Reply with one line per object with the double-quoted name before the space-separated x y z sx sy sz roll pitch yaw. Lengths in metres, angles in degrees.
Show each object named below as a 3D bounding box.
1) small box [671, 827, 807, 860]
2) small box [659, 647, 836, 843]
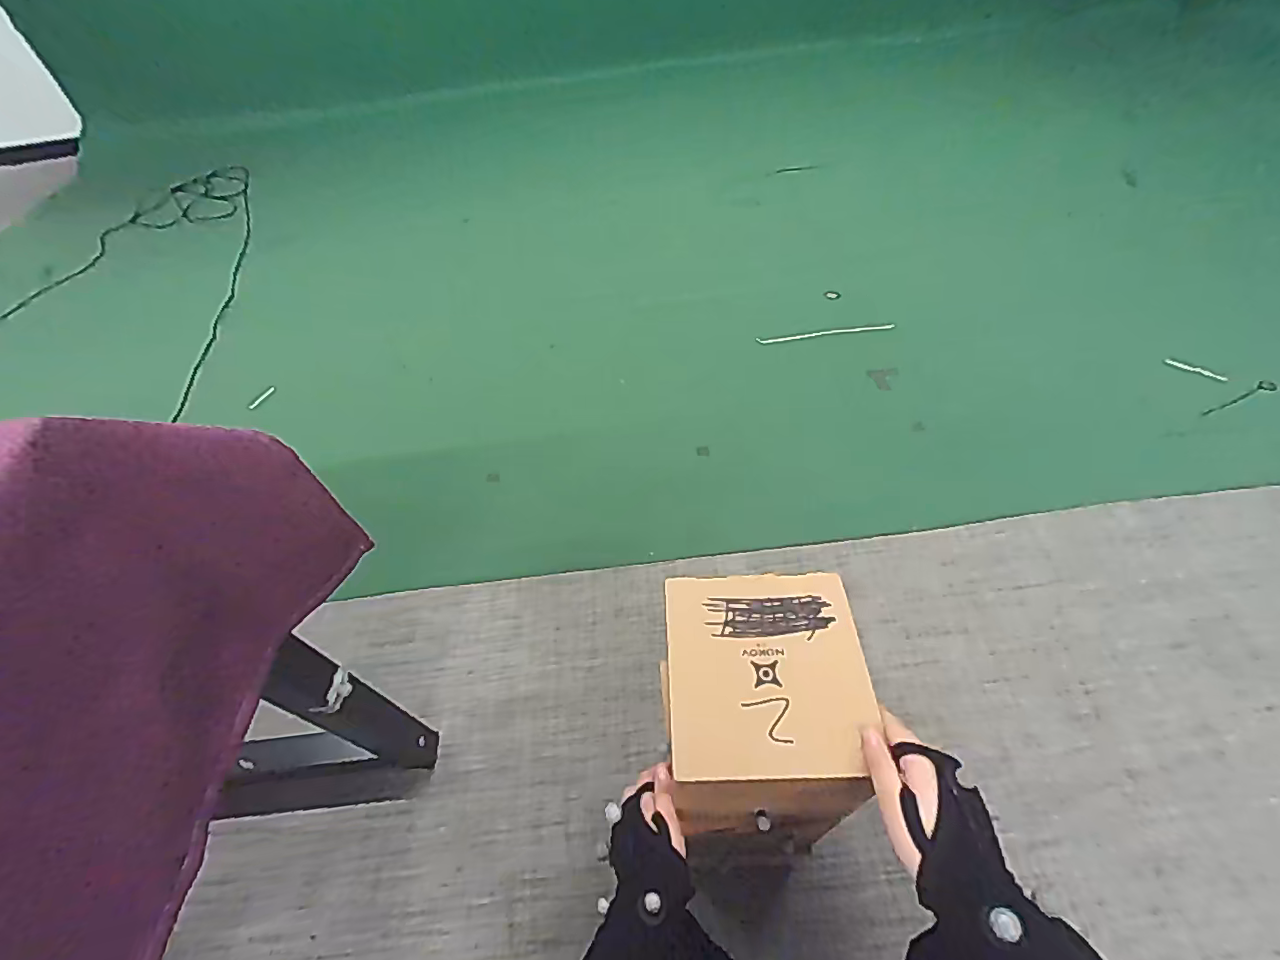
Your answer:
"small box" 0.128 0.427 0.763 0.168 0.176 0.179 -4 51 3
"small box" 0.115 0.320 0.641 0.168 0.176 0.179 -5 50 1
